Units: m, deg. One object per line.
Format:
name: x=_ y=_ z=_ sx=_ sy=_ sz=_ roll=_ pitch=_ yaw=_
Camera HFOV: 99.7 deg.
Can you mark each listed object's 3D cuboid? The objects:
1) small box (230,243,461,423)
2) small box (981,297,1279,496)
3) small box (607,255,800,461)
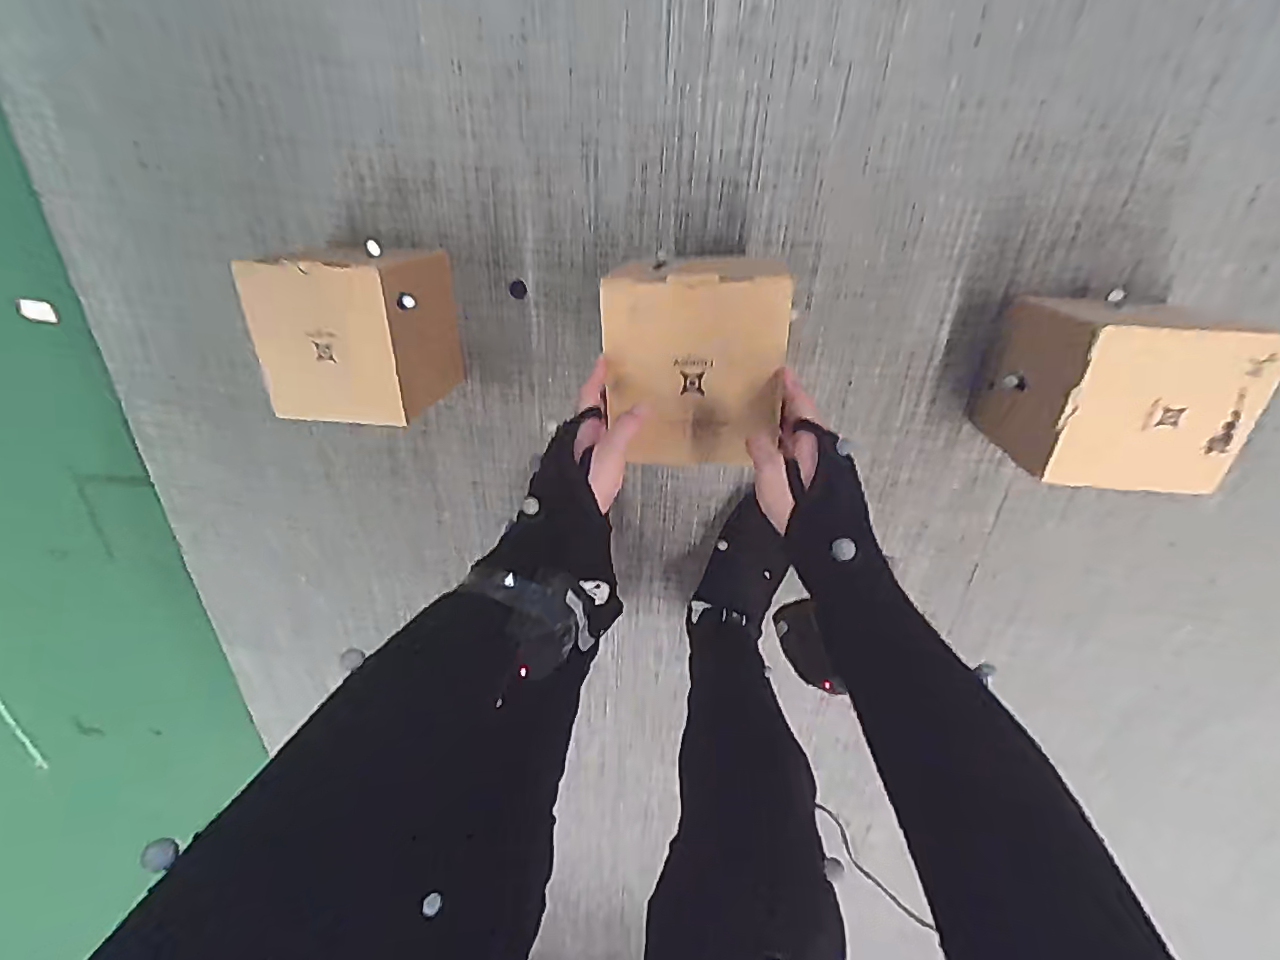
small box: x=-0.331 y=-0.183 z=0.651 sx=0.168 sy=0.176 sz=0.179 roll=4 pitch=116 yaw=5
small box: x=0.514 y=-0.100 z=0.590 sx=0.179 sy=0.176 sz=0.168 roll=6 pitch=117 yaw=5
small box: x=0.063 y=-0.135 z=0.560 sx=0.168 sy=0.176 sz=0.179 roll=3 pitch=117 yaw=8
